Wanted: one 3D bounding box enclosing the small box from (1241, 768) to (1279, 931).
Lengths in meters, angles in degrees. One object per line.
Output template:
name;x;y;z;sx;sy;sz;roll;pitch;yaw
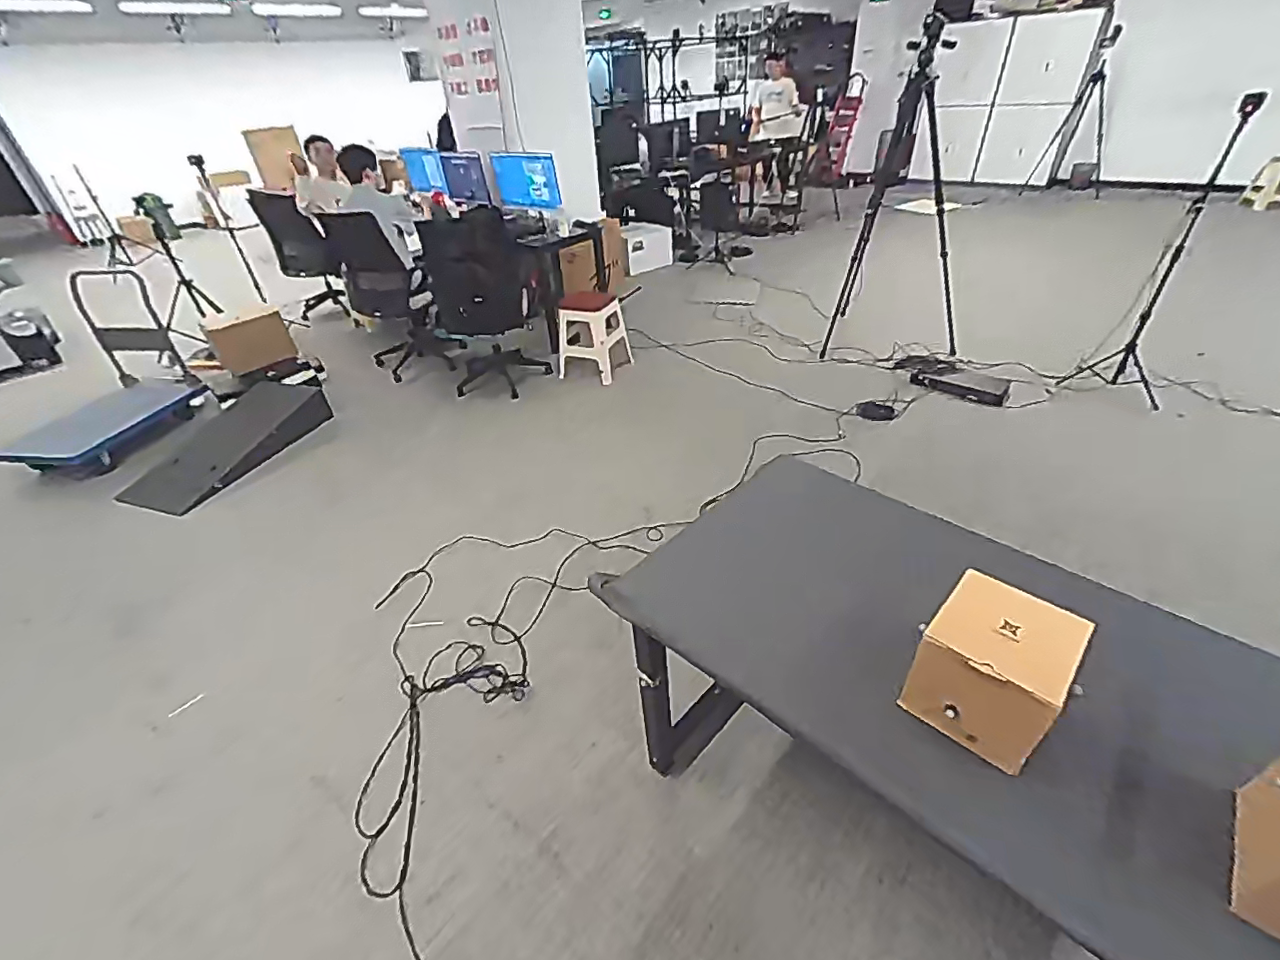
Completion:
small box;0.788;0.407;0.566;0.168;0.176;0.179;25;46;37

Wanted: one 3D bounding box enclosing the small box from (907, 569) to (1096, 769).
small box;0.518;0.272;0.793;0.168;0.176;0.179;28;47;36
